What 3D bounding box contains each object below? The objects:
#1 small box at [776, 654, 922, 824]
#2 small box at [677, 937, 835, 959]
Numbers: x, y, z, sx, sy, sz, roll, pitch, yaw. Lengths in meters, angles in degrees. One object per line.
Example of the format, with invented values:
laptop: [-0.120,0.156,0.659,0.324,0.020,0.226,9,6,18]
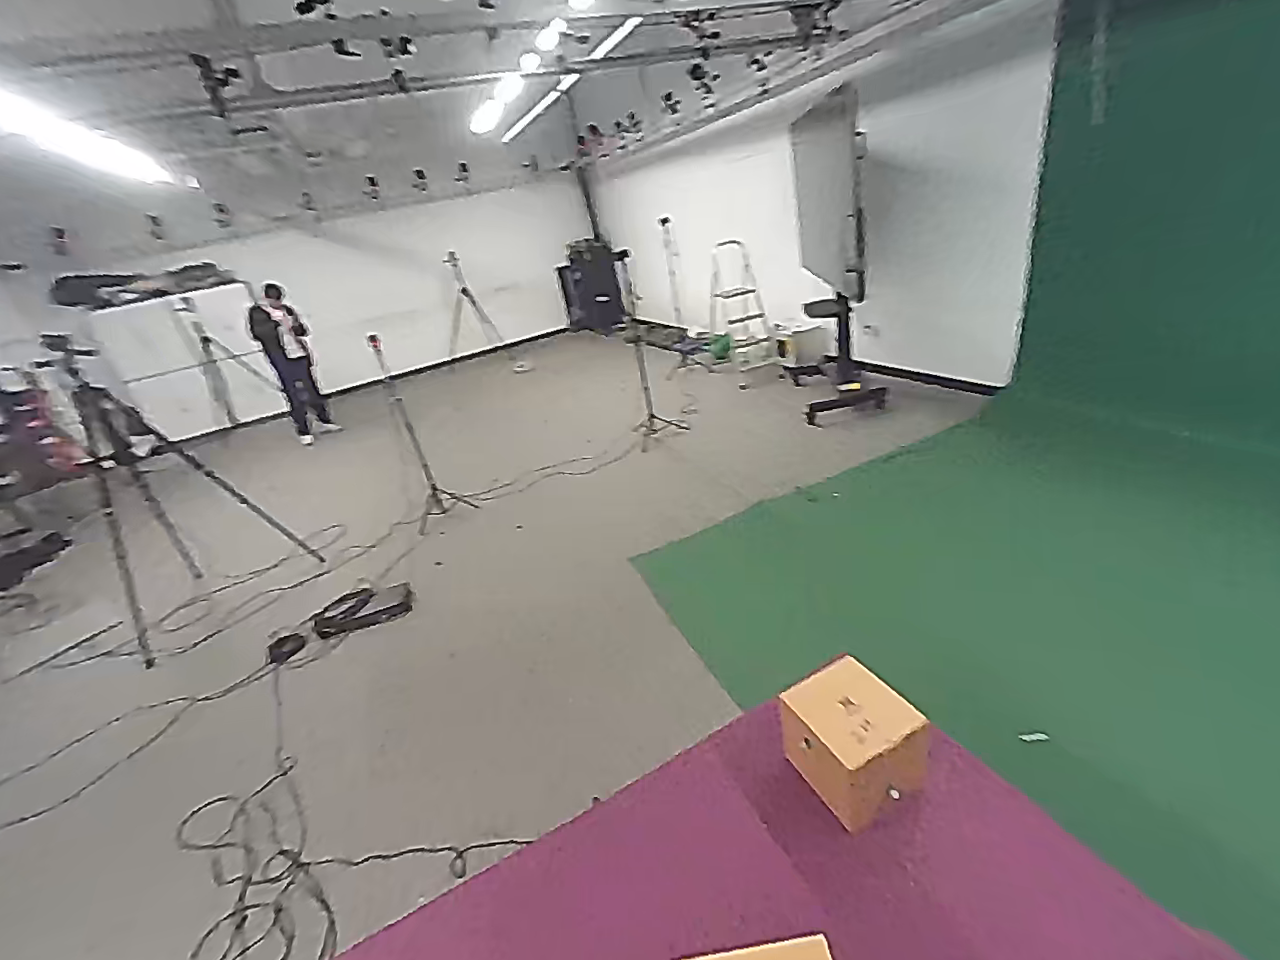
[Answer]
small box: [0.363,0.452,0.956,0.168,0.176,0.179,-21,29,-17]
small box: [0.131,0.593,0.516,0.168,0.176,0.179,-10,25,1]
